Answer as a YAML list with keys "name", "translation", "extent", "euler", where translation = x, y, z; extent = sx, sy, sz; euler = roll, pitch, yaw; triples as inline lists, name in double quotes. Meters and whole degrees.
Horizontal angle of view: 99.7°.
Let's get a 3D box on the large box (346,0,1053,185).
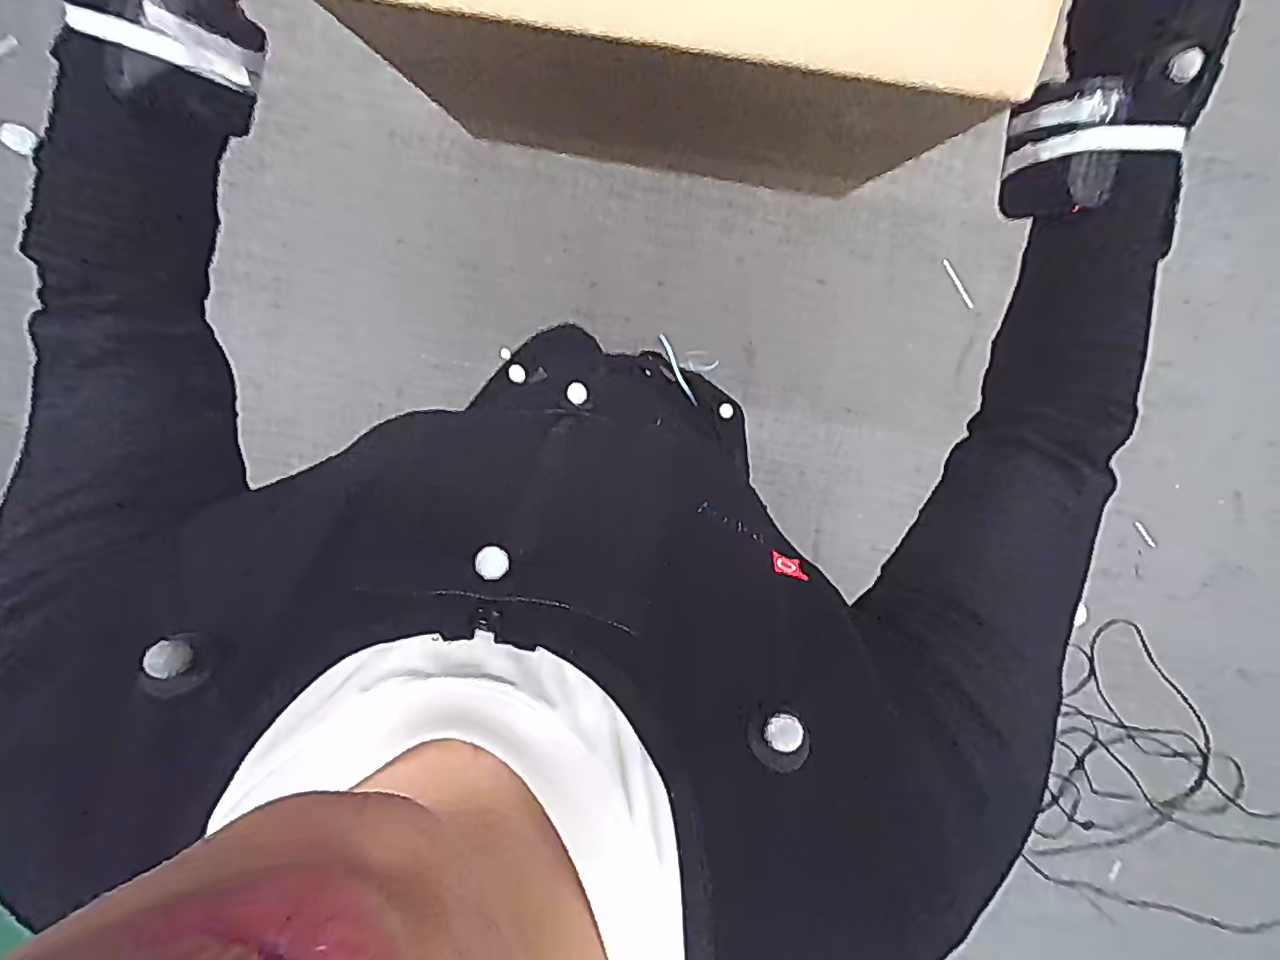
- name: "large box"
  translation: [0.043, -0.436, 0.392]
  extent: [0.408, 0.320, 0.320]
  euler: [8, 110, -1]
